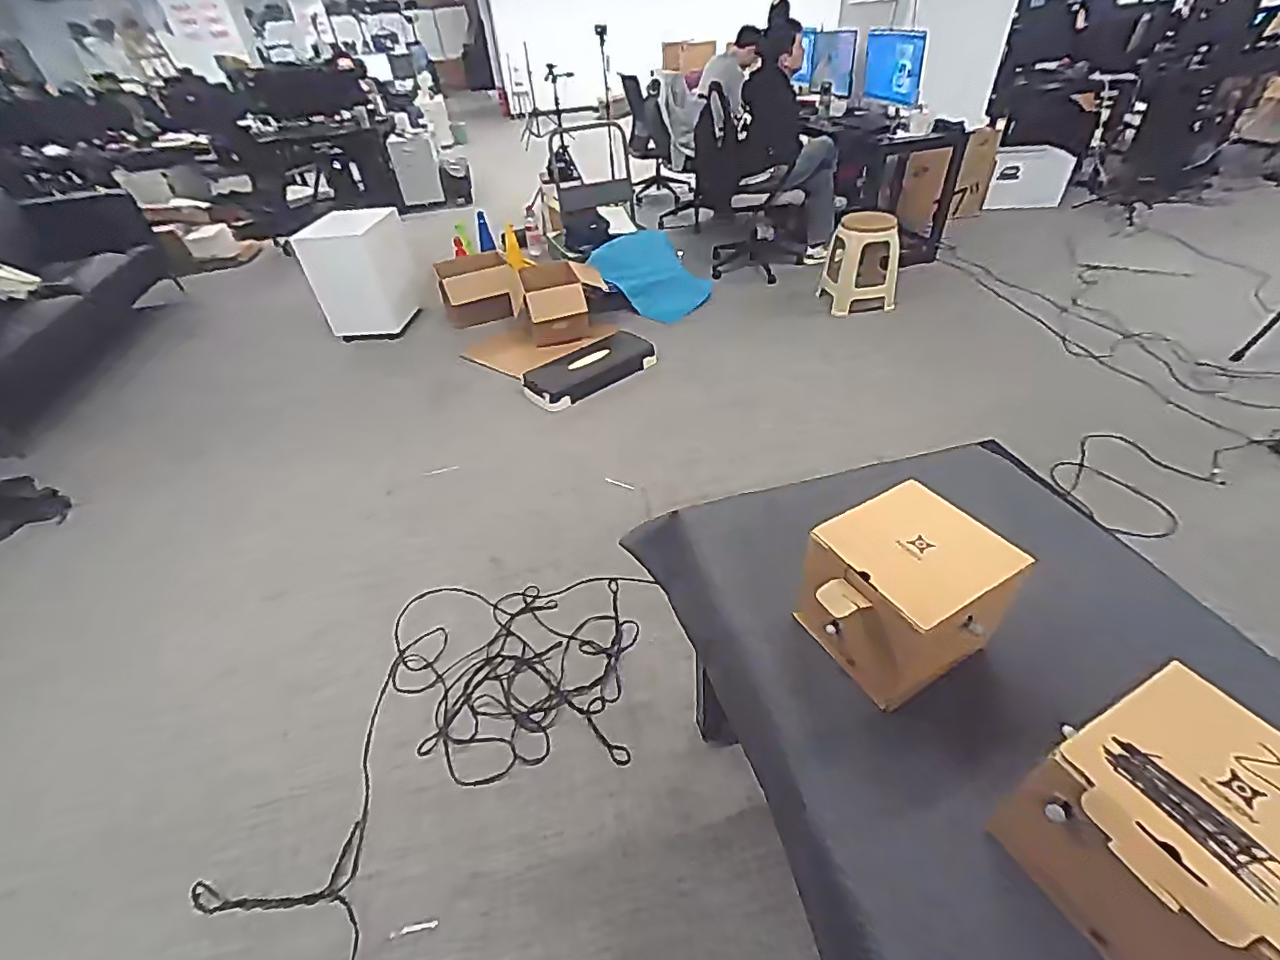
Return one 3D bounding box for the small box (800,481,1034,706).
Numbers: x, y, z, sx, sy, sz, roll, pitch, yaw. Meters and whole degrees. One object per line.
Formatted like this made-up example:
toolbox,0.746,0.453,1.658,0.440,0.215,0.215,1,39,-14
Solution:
small box,0.320,0.136,0.664,0.179,0.176,0.168,-23,44,-19
